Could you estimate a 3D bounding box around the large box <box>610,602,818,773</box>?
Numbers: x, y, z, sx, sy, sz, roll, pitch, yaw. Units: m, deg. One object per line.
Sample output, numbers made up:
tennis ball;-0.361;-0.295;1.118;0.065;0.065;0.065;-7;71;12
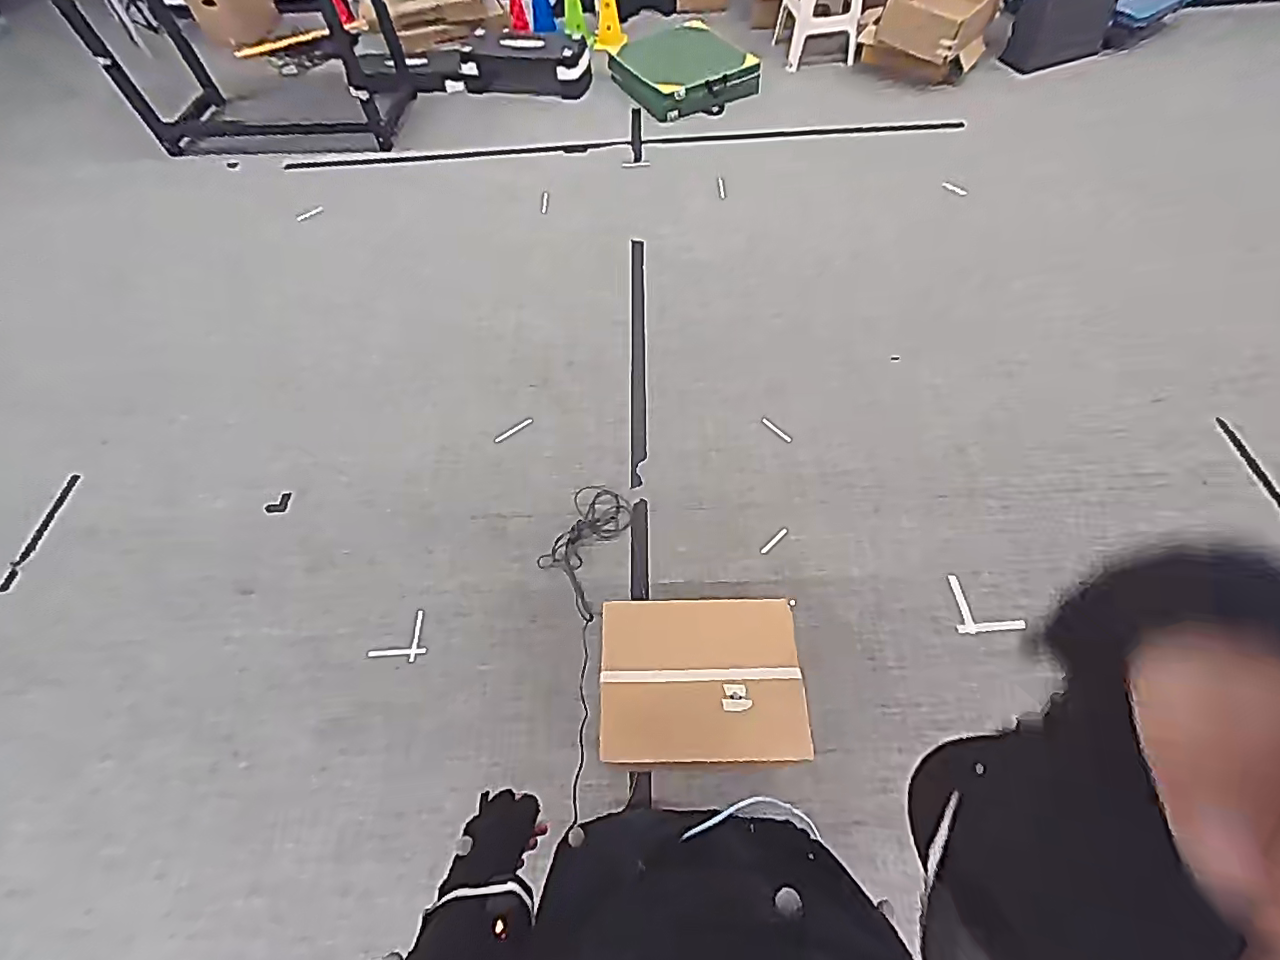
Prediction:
large box;0.140;0.478;1.224;0.408;0.320;0.320;0;60;1
